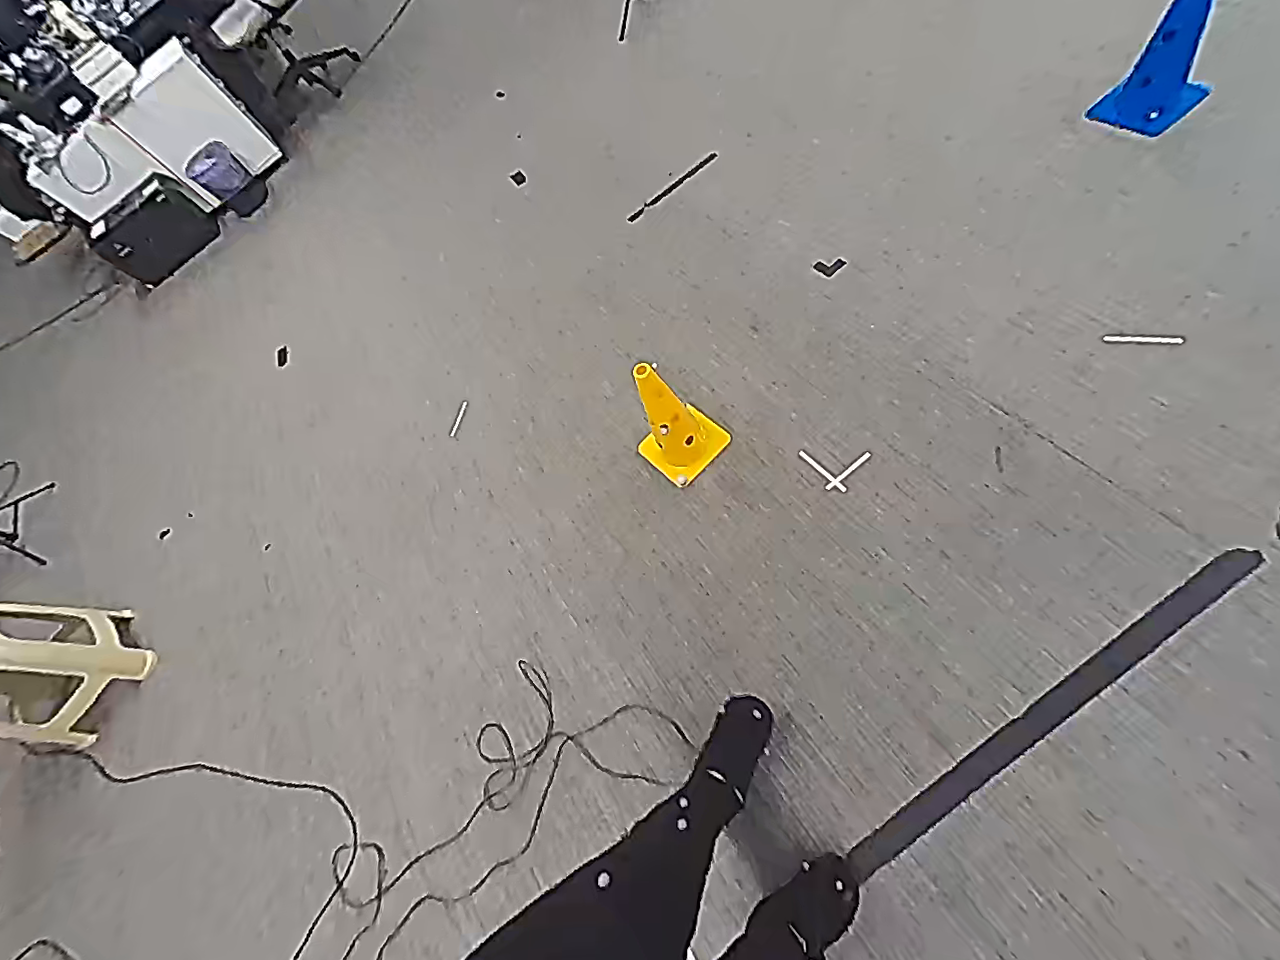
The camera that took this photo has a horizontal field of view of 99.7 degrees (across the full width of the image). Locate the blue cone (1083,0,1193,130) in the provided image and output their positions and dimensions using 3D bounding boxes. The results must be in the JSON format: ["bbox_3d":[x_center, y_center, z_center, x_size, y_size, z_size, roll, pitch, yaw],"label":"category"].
[{"bbox_3d":[1.293,-1.096,1.327,0.193,0.380,0.192,-38,57,0],"label":"blue cone"}]
